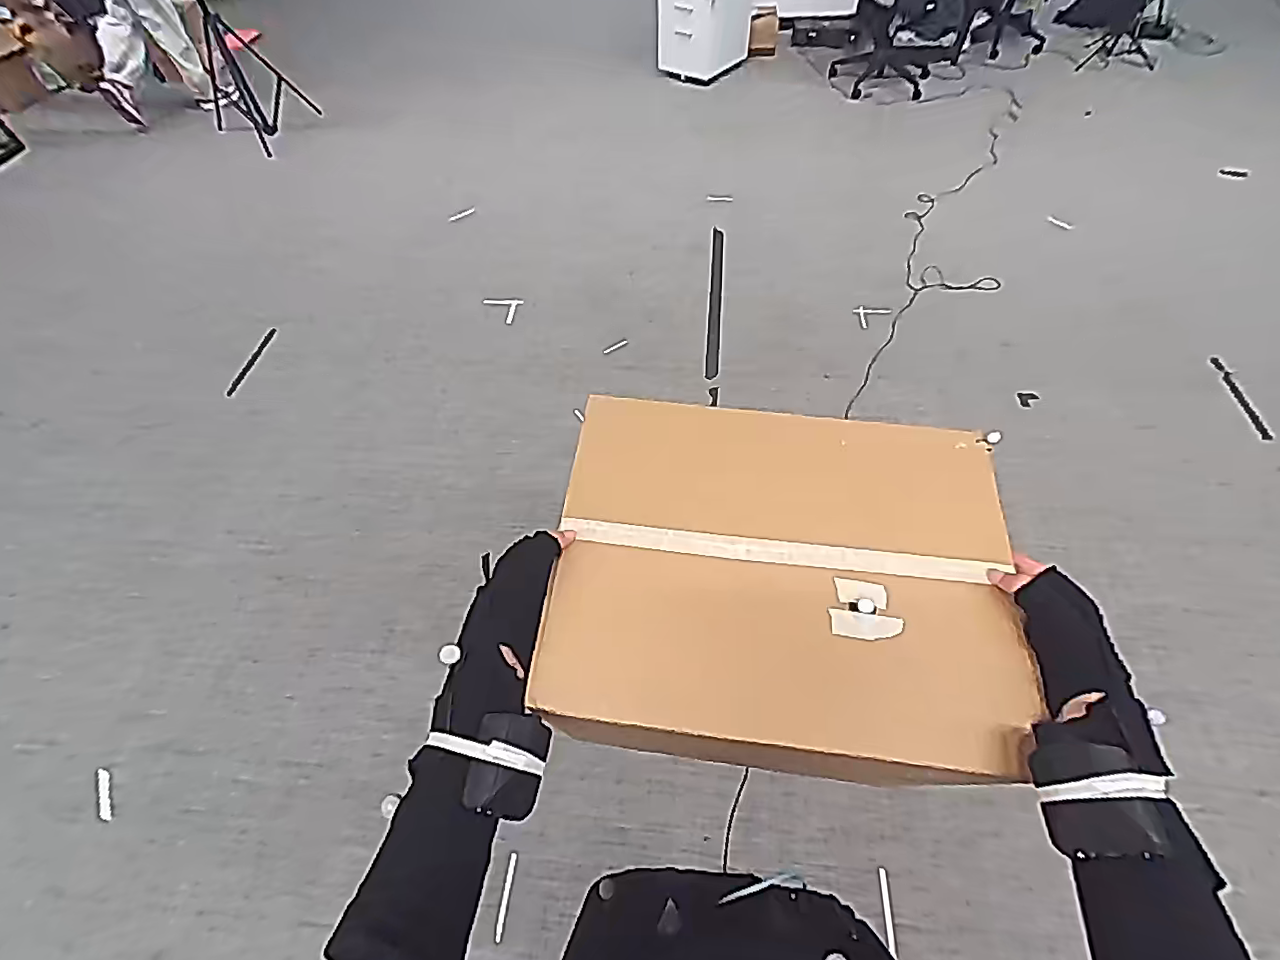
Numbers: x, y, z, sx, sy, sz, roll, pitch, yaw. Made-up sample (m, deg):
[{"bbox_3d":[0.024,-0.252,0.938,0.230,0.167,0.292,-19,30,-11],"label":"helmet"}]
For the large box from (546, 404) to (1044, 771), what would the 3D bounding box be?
[{"bbox_3d":[0.132,0.140,0.629,0.408,0.320,0.320,6,62,3],"label":"large box"}]
